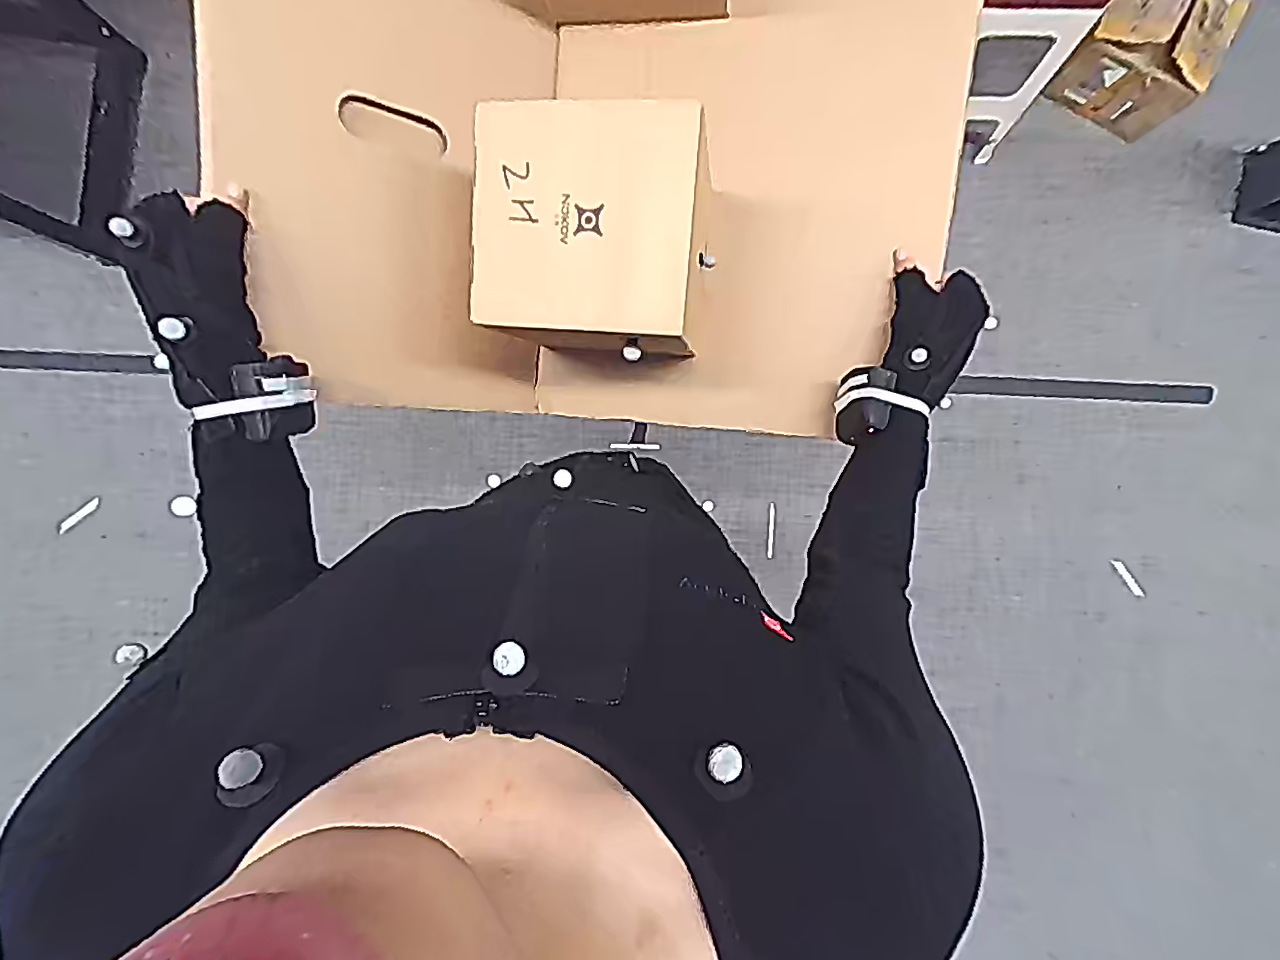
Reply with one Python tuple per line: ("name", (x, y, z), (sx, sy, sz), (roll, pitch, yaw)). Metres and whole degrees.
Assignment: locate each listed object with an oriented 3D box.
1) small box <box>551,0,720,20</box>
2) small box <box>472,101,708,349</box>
("small box", (-0.011, -0.528, 0.450), (0.179, 0.176, 0.168), (6, 99, 8))
("small box", (-0.033, -0.215, 0.498), (0.179, 0.176, 0.168), (6, 99, 10))
